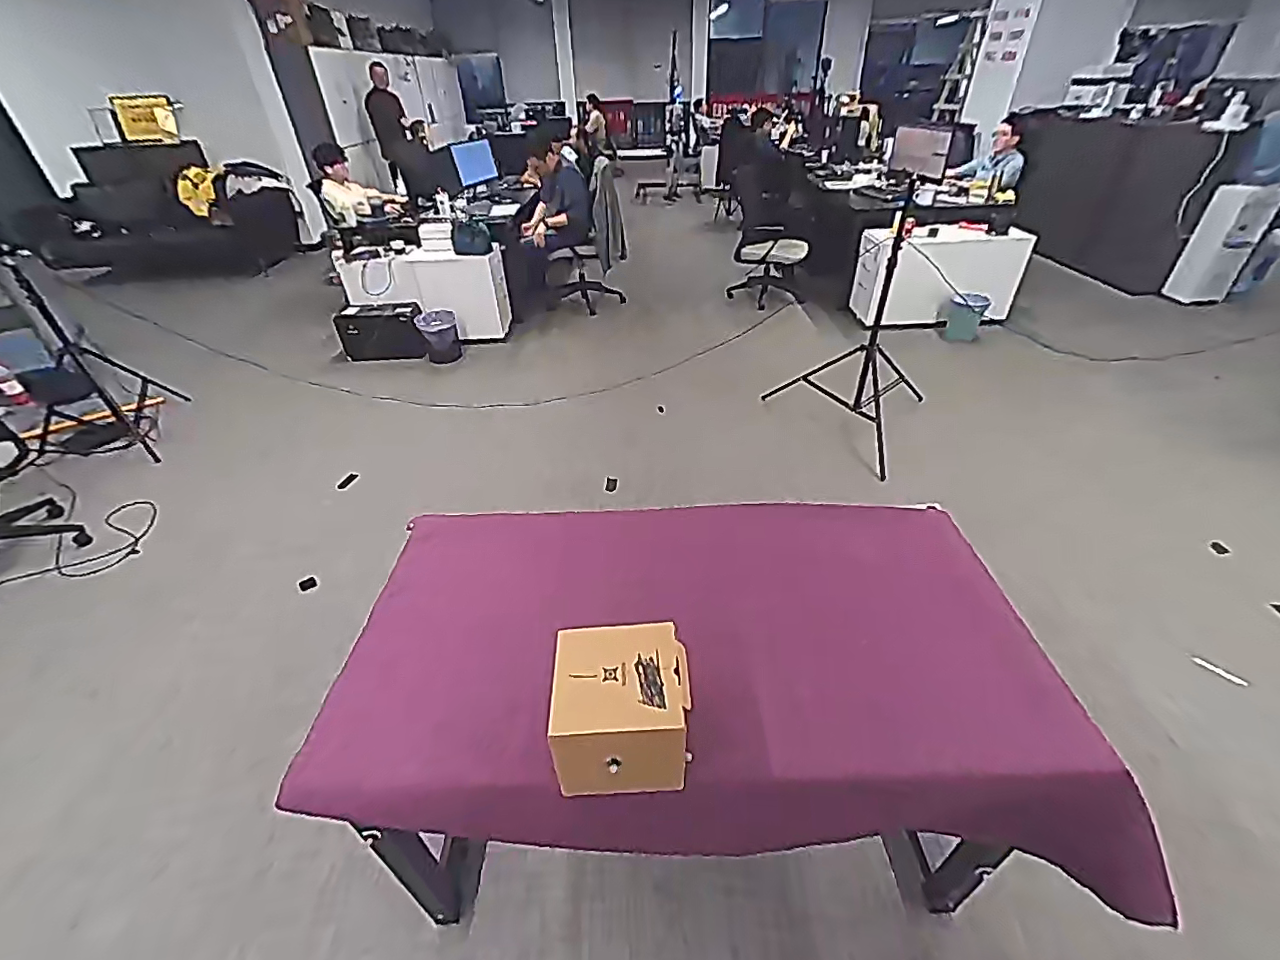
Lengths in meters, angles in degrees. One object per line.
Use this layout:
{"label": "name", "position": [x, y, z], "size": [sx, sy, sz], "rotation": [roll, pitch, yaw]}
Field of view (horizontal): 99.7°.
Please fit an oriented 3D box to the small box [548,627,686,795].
{"label": "small box", "position": [-0.029, 0.335, 0.788], "size": [0.179, 0.176, 0.168], "rotation": [-3, 36, 0]}
